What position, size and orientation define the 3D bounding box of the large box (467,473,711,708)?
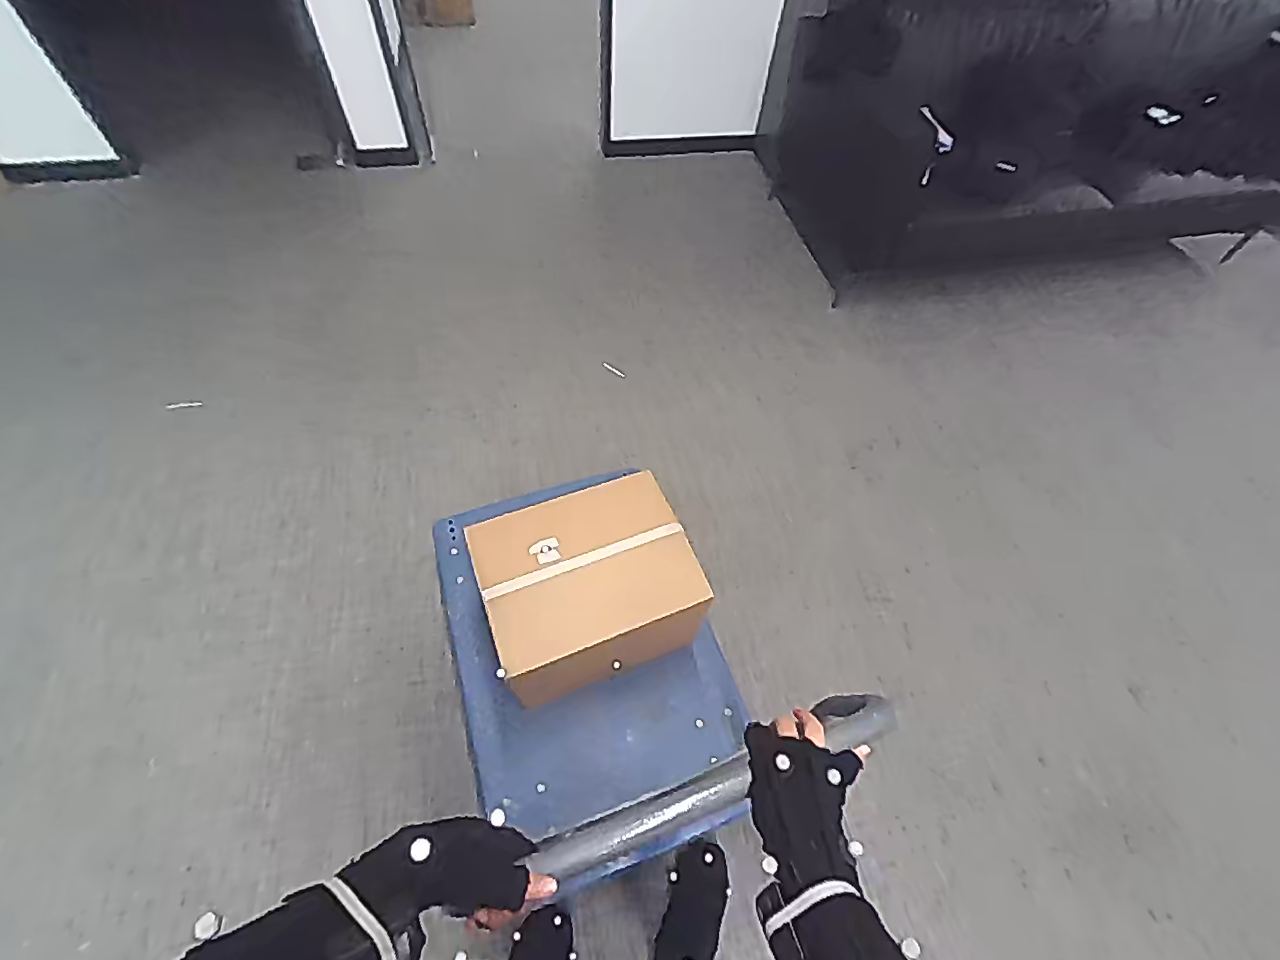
[{"bbox_3d":[-0.111,0.243,1.171,0.408,0.320,0.320,-18,60,-15],"label":"large box"}]
